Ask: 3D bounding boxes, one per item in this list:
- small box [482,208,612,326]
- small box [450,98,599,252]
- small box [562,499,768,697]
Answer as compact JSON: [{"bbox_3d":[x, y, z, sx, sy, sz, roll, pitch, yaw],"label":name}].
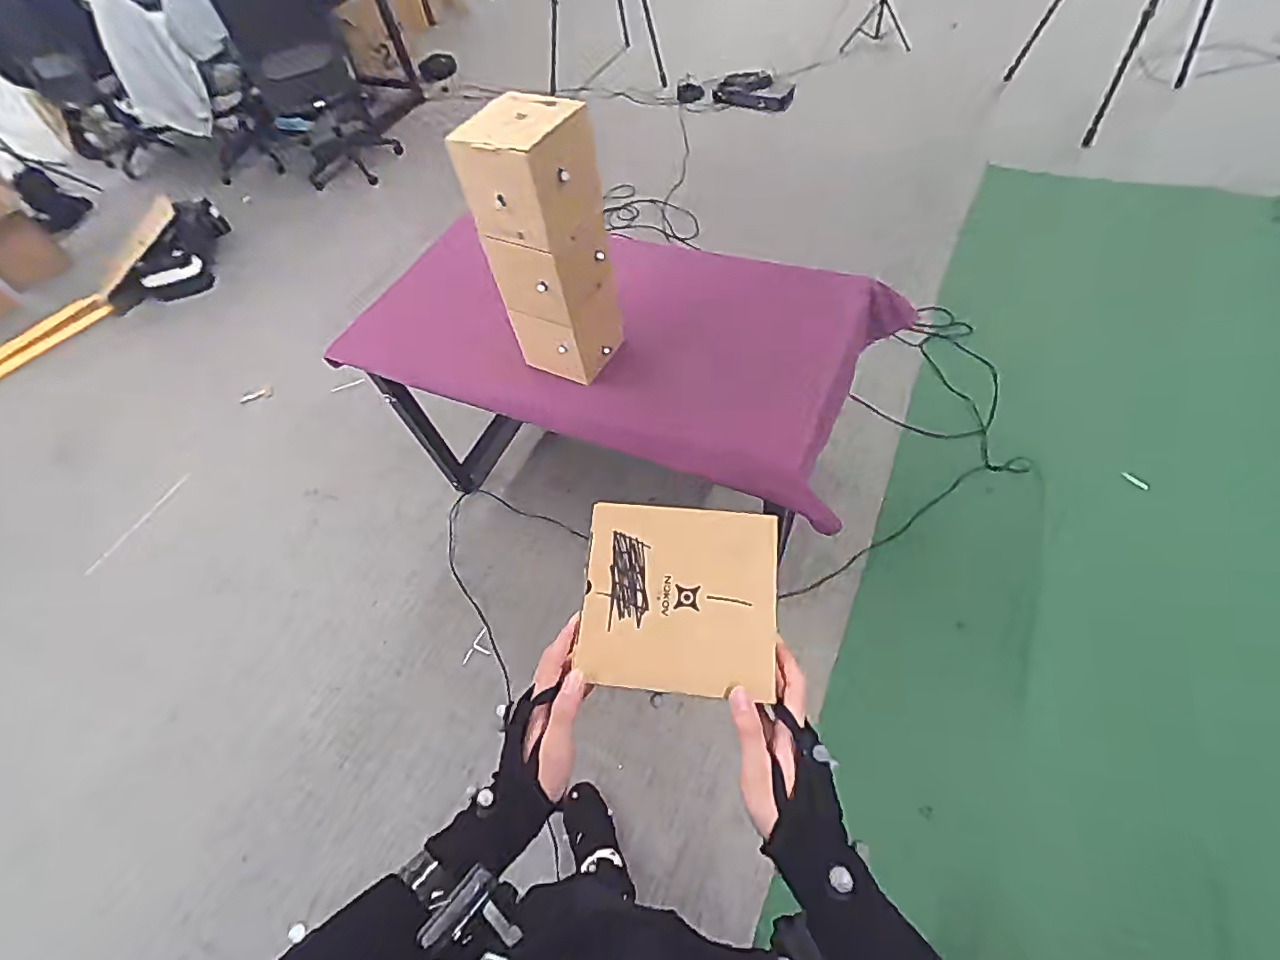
[{"bbox_3d":[-0.173,-0.432,1.074,0.179,0.176,0.168,22,62,21],"label":"small box"},{"bbox_3d":[-0.188,-0.528,0.942,0.168,0.176,0.179,23,62,20],"label":"small box"},{"bbox_3d":[0.033,0.129,0.561,0.179,0.176,0.168,4,69,6],"label":"small box"}]
